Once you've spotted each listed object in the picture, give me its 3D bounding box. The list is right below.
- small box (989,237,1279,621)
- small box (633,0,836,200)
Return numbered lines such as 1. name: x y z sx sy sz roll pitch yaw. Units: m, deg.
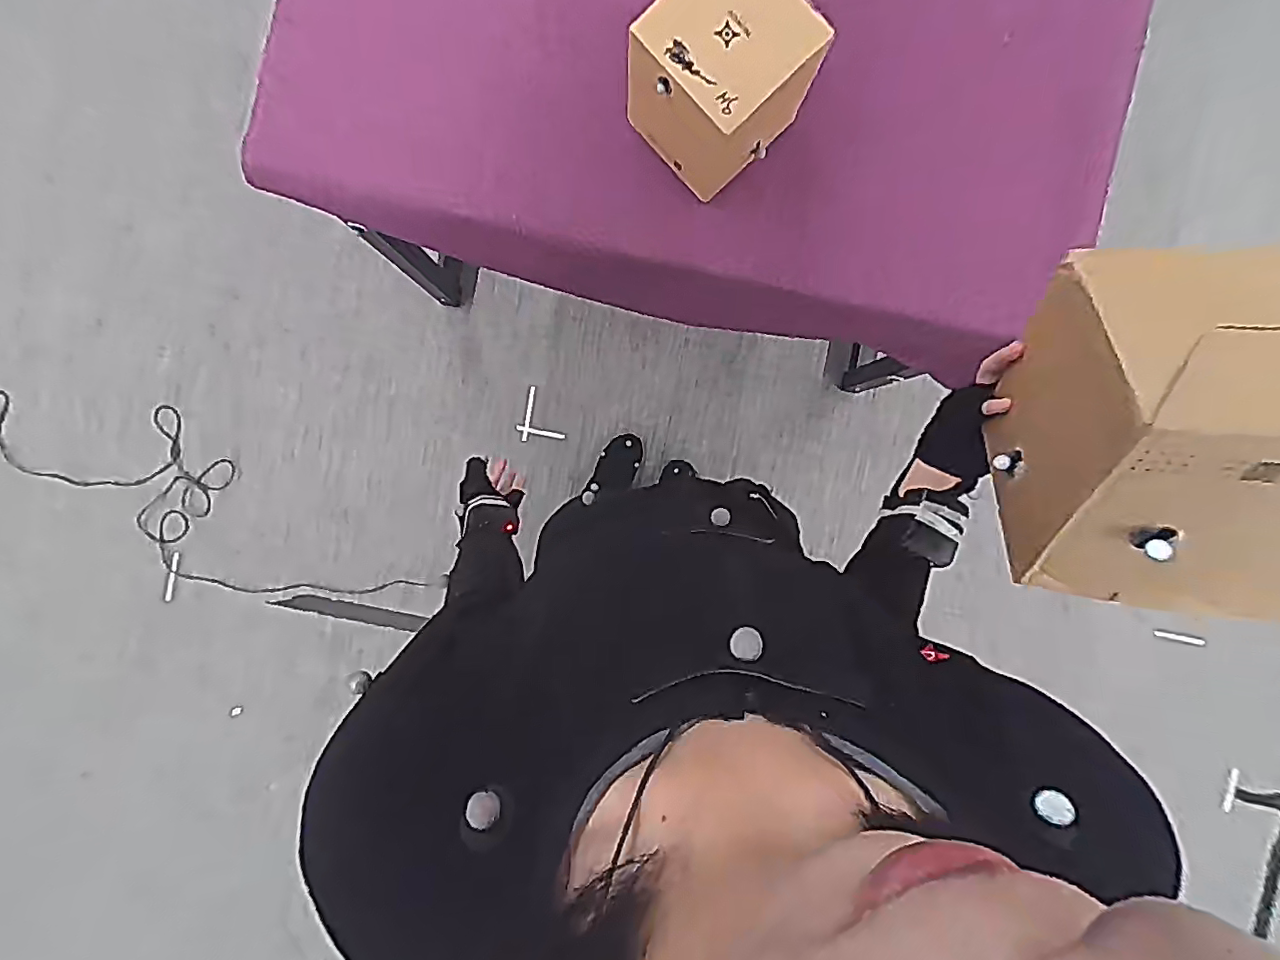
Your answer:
1. small box: 0.356 -0.034 0.344 0.168 0.176 0.179 7 52 13
2. small box: 0.103 -0.506 0.686 0.179 0.176 0.168 -44 92 -1
